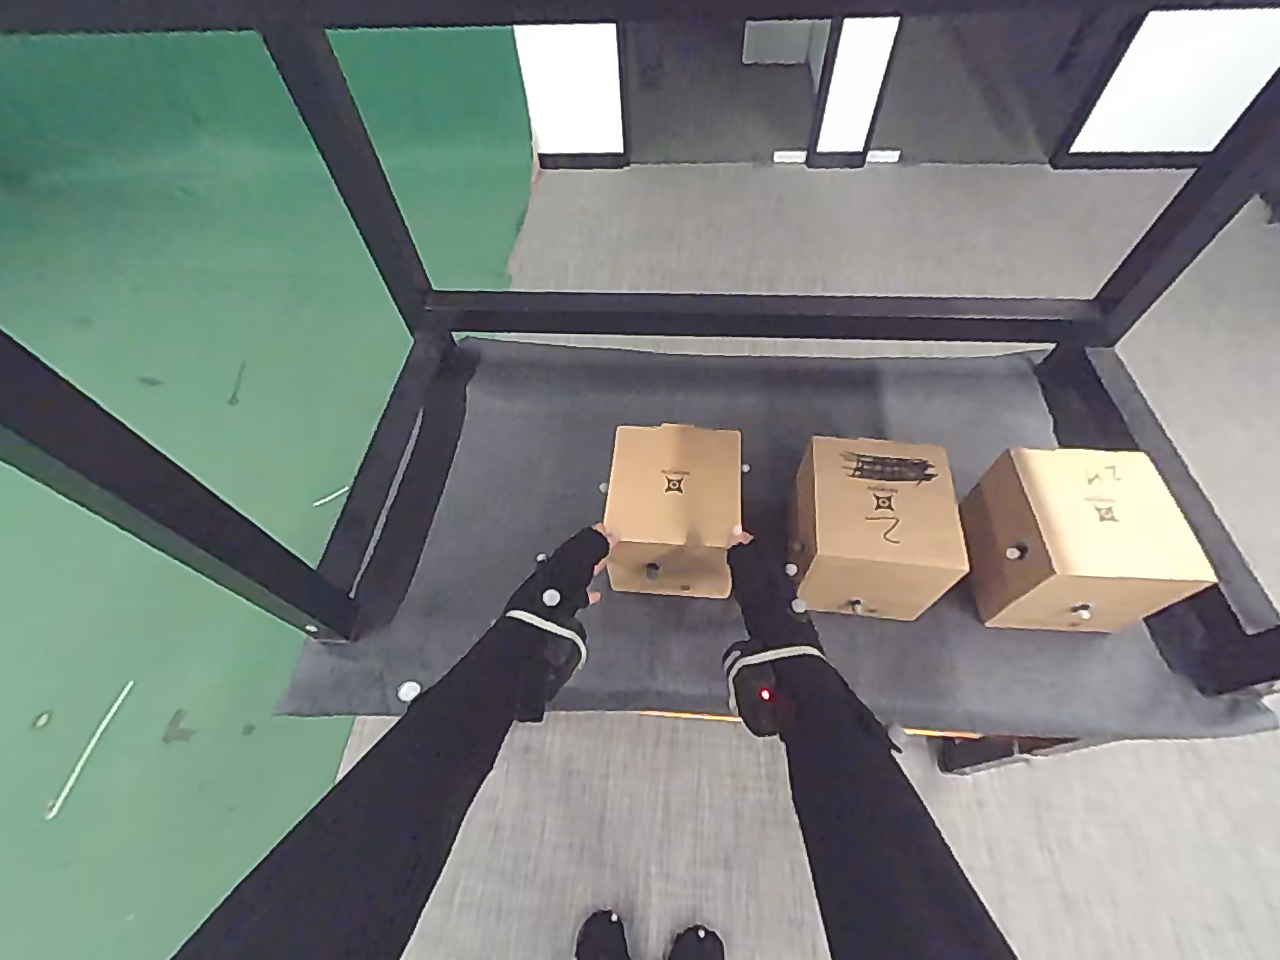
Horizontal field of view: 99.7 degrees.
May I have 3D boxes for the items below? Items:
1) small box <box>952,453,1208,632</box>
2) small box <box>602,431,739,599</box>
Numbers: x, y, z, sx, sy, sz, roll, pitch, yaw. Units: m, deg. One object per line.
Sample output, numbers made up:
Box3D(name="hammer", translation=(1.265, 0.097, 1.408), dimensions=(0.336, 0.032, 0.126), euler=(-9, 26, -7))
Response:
Box3D(name="small box", translation=(0.538, 0.084, 0.696), dimensions=(0.168, 0.176, 0.179), euler=(2, 55, 4))
Box3D(name="small box", translation=(0.047, 0.053, 0.746), dimensions=(0.168, 0.176, 0.179), euler=(3, 56, 5))
